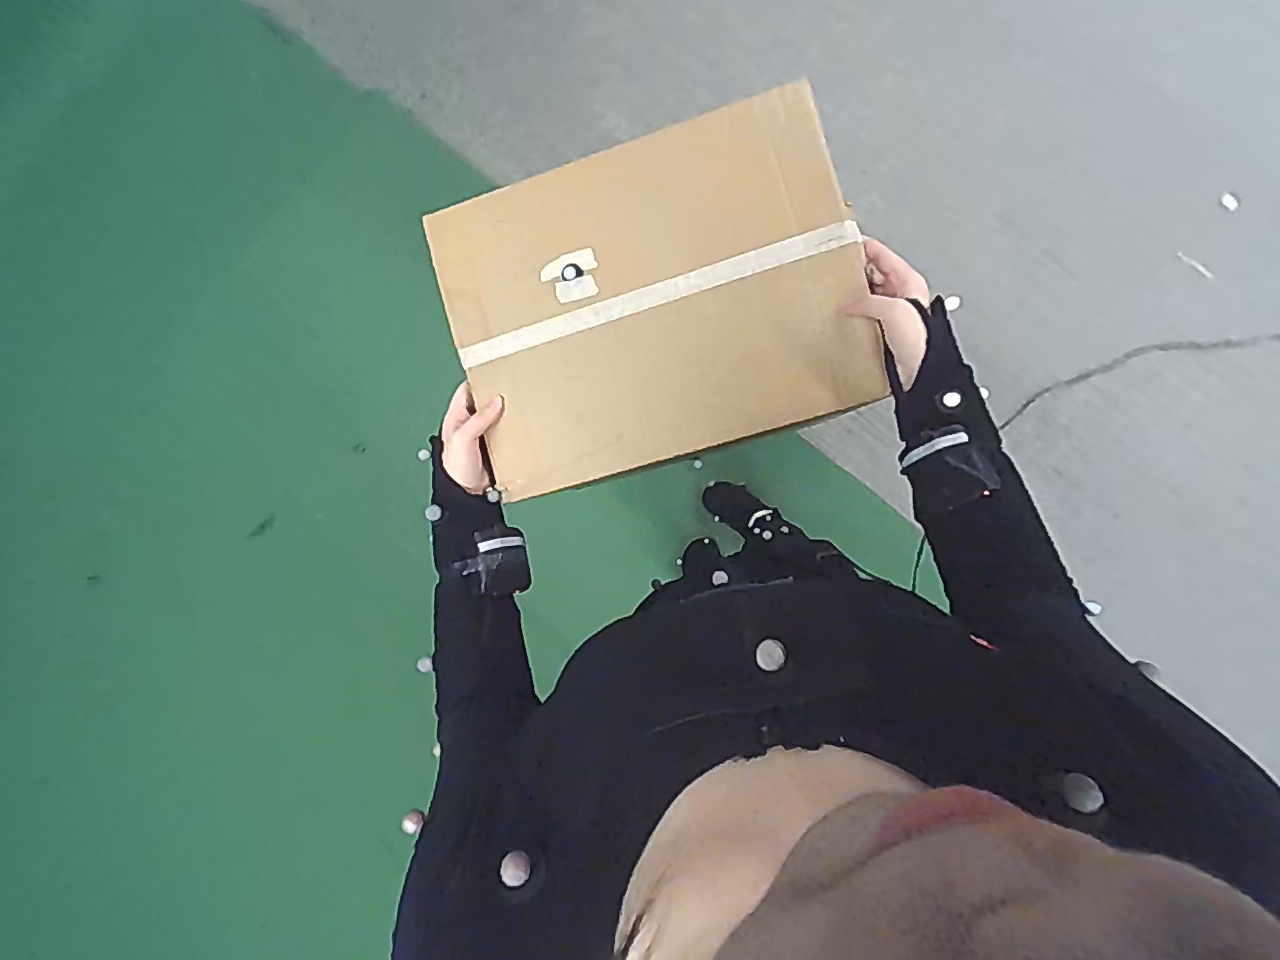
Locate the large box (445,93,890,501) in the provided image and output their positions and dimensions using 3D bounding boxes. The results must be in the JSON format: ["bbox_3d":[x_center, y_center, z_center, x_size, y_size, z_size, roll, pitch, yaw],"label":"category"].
[{"bbox_3d":[0.039,-0.183,0.697,0.408,0.320,0.320,-15,89,9],"label":"large box"}]
